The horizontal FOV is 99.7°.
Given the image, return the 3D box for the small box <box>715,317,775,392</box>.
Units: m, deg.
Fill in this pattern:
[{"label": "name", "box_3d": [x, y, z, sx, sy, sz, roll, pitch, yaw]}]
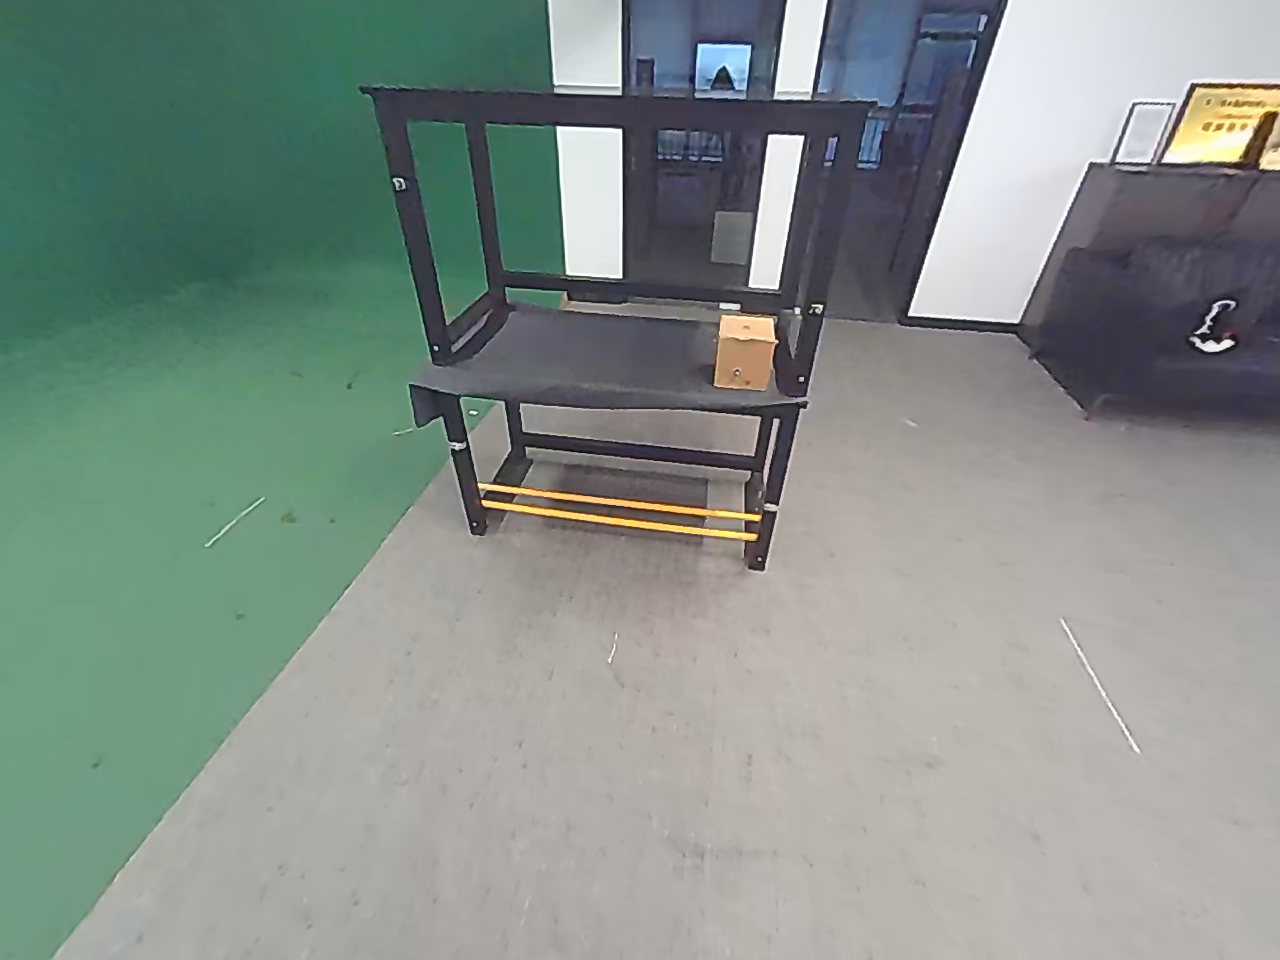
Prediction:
[{"label": "small box", "box_3d": [0.324, -0.394, 1.686, 0.168, 0.176, 0.179, 5, 37, 7]}]
